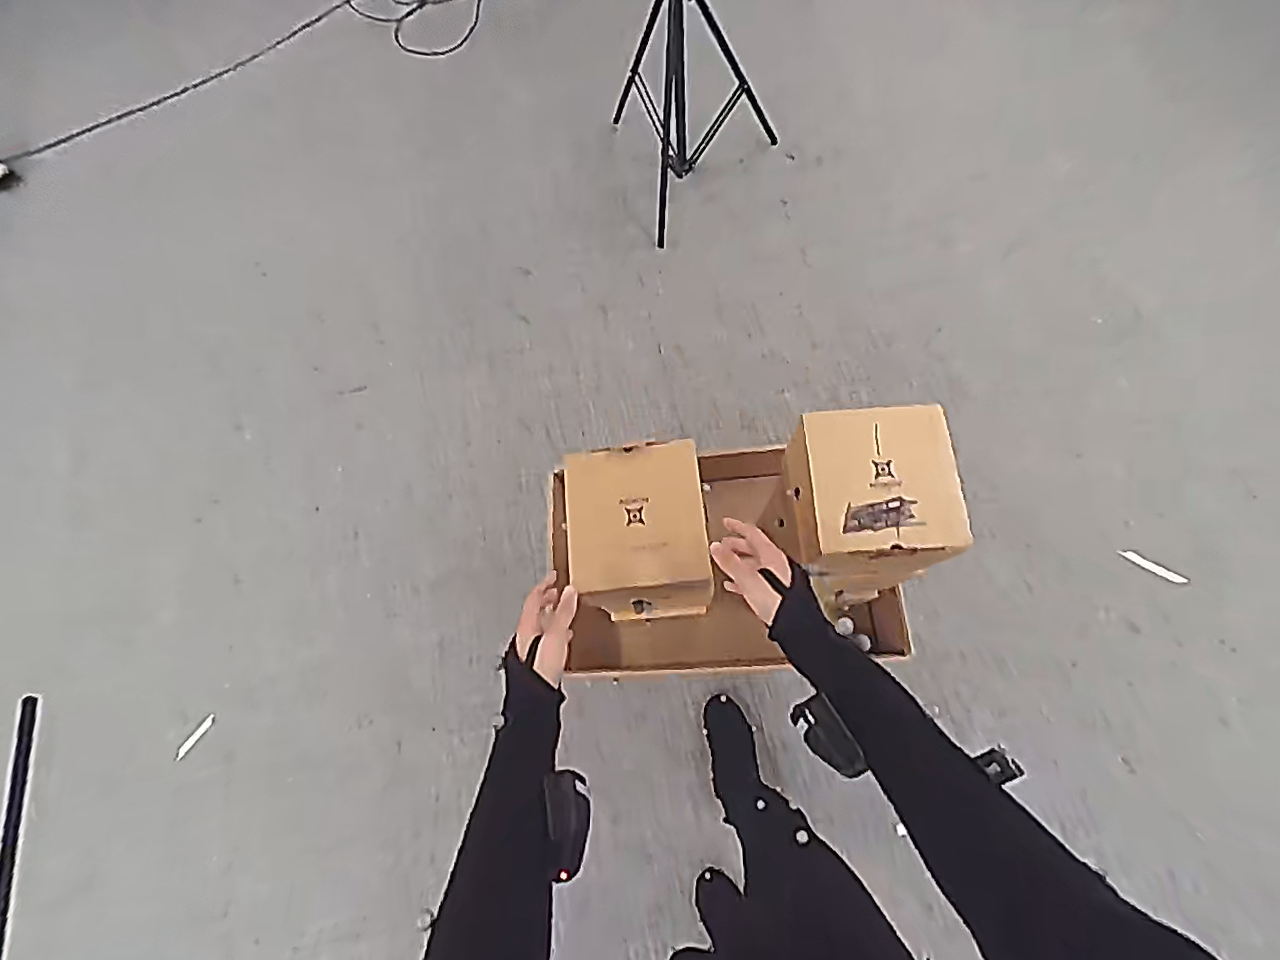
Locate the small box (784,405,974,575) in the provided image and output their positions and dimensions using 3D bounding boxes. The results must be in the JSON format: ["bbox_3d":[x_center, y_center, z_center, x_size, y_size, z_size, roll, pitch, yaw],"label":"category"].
[{"bbox_3d":[0.284,0.024,0.685,0.168,0.176,0.179,-3,71,5],"label":"small box"}]

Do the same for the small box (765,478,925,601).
[{"bbox_3d":[0.302,0.091,0.837,0.179,0.176,0.168,-7,71,4],"label":"small box"}]

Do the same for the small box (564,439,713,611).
[{"bbox_3d":[0.001,0.066,0.705,0.168,0.176,0.179,-7,70,4],"label":"small box"}]

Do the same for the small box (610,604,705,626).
[{"bbox_3d":[0.032,0.178,1.012,0.168,0.176,0.179,-6,71,3],"label":"small box"}]
